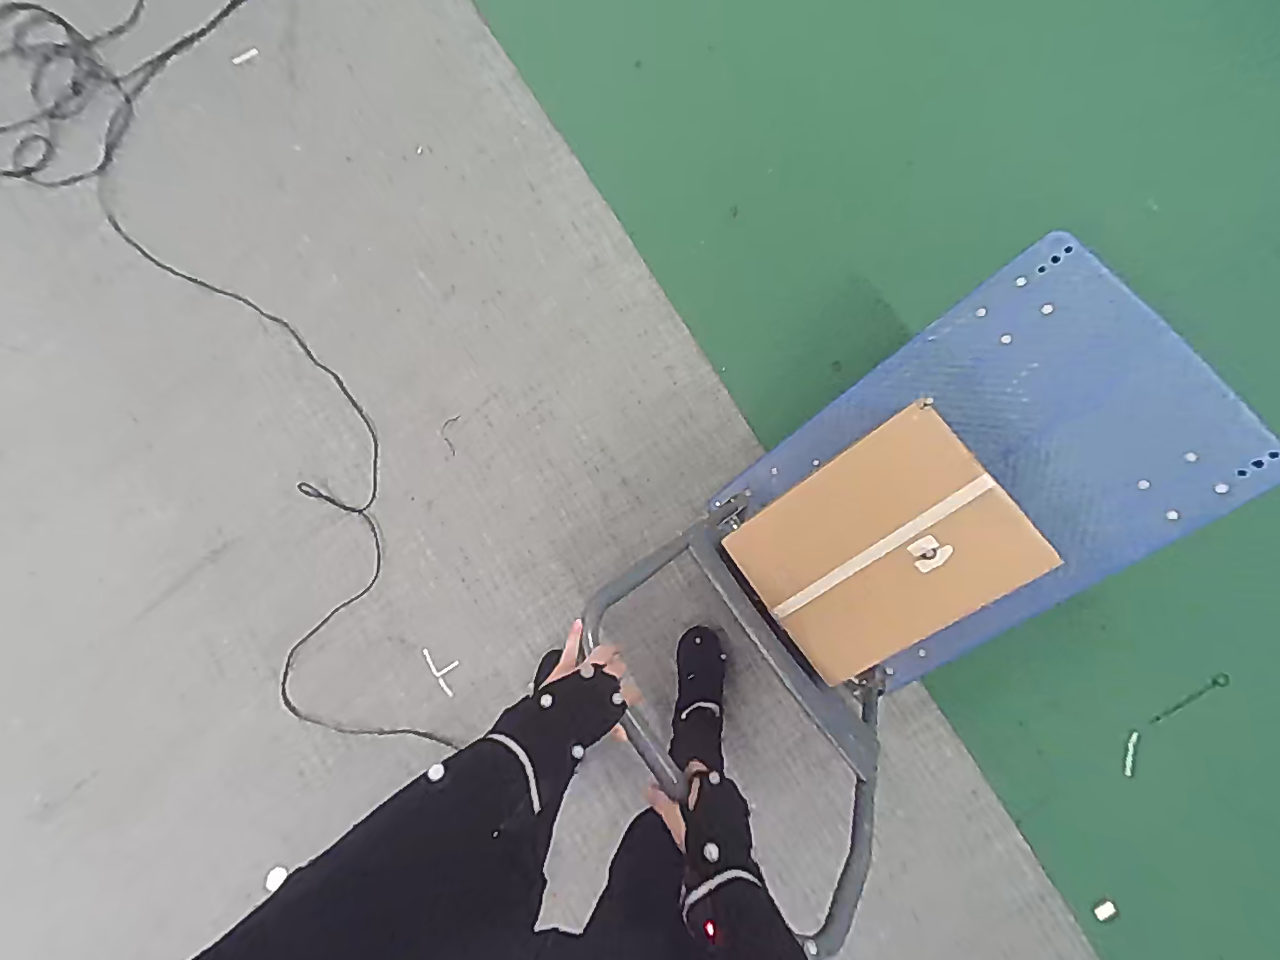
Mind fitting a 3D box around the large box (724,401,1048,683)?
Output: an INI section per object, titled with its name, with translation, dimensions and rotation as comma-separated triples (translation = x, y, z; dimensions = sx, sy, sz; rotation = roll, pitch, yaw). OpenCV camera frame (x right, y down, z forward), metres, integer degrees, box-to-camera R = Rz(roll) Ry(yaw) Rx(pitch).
[large box]
translation = 0.434, 0.105, 1.030
dimensions = 0.408, 0.320, 0.320
rotation = -40, 80, 20
